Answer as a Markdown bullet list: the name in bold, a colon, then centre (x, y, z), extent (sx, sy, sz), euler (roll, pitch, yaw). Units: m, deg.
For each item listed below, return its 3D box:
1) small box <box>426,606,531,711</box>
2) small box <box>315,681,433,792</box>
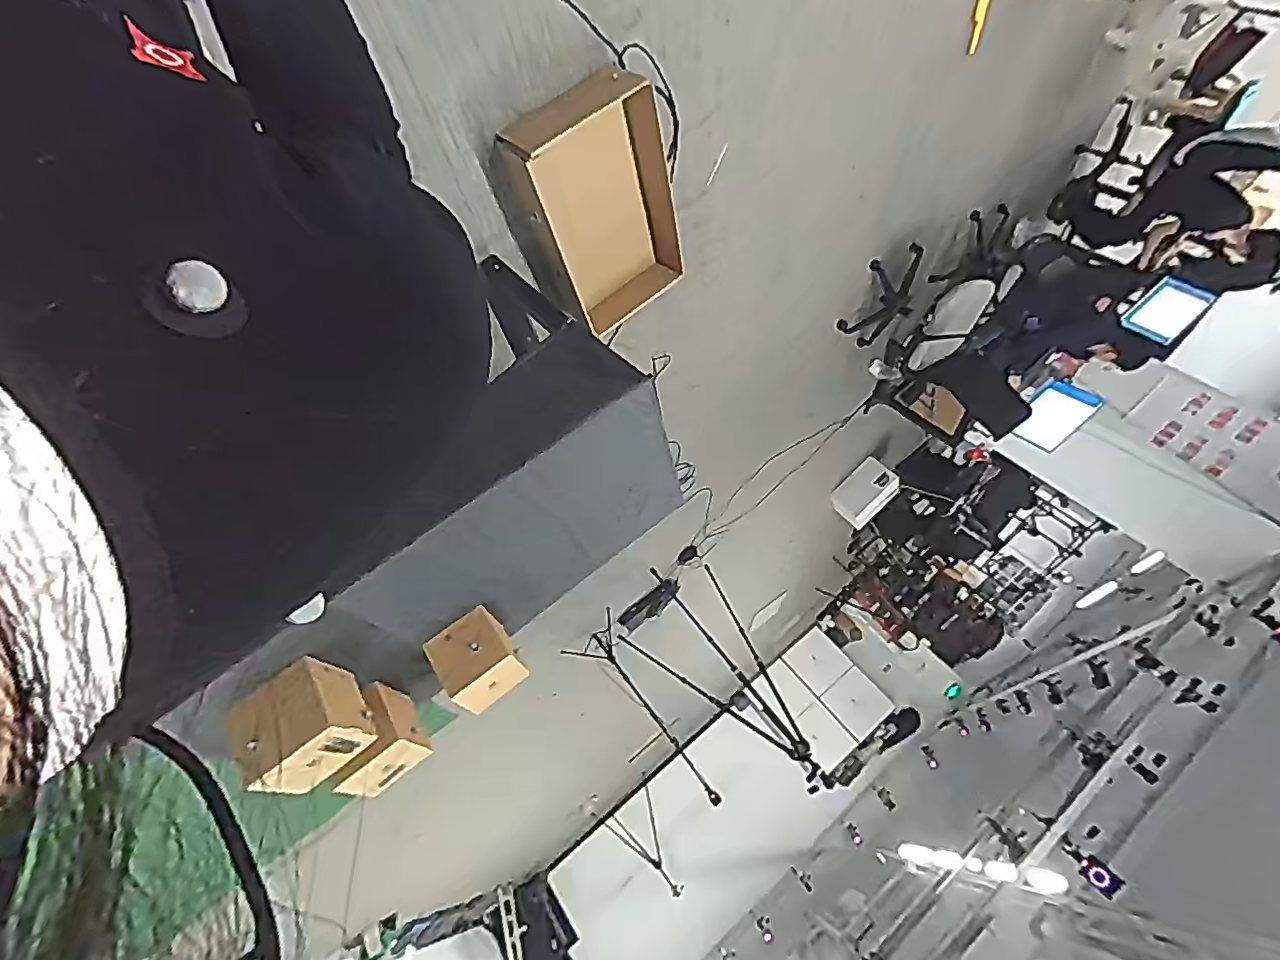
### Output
- **small box**: centre (-0.409, 0.447, 1.370), extent (0.168, 0.176, 0.179), euler (-35, 149, -15)
- **small box**: centre (-0.635, 0.613, 1.298), extent (0.168, 0.176, 0.179), euler (-36, 148, -15)
